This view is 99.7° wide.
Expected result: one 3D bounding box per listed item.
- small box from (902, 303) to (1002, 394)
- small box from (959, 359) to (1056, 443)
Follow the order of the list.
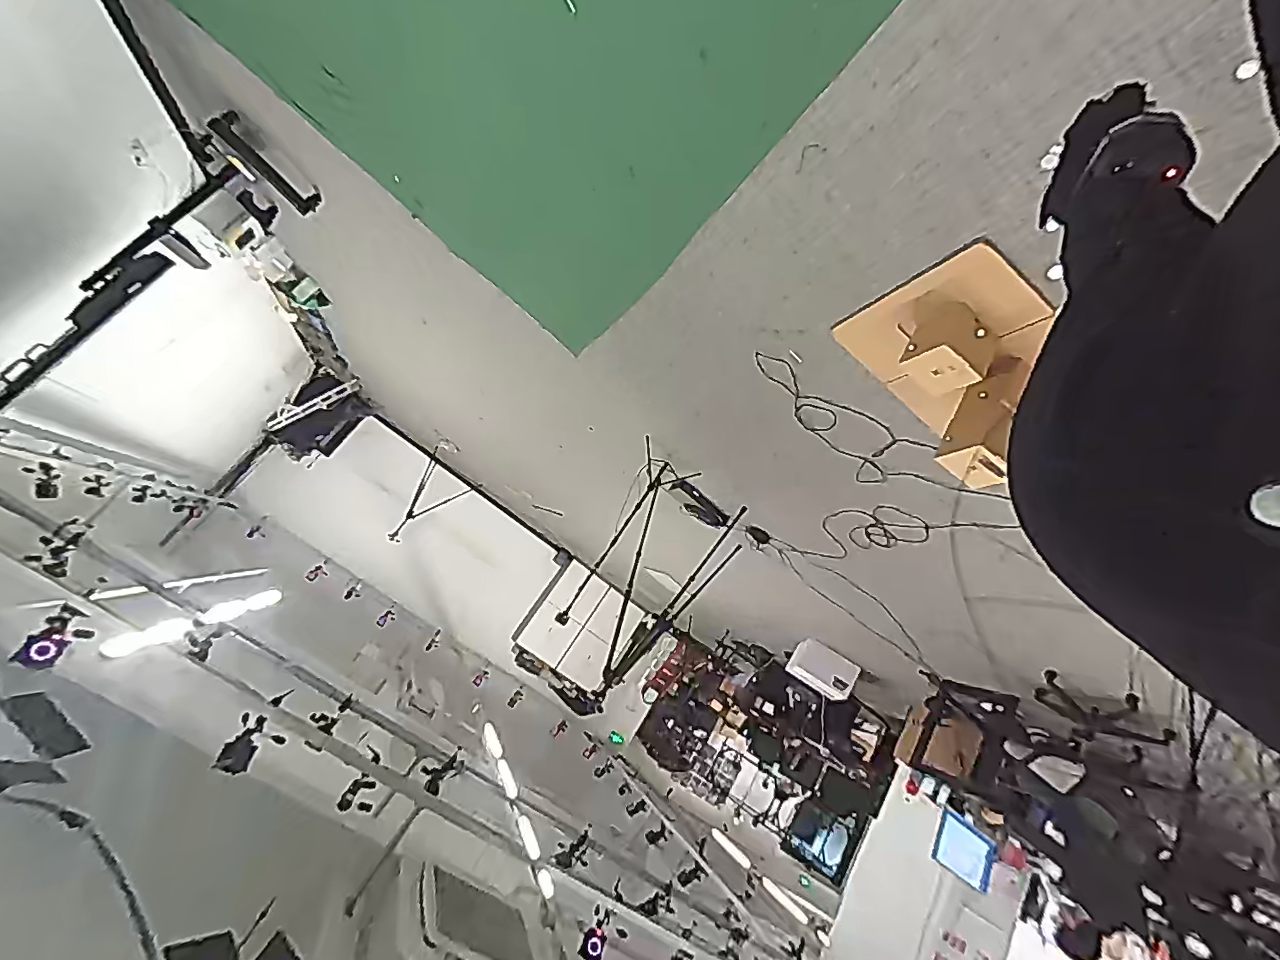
[{"bbox_3d":[0.942,-0.394,1.628,0.168,0.176,0.179,37,161,-11],"label":"small box"},{"bbox_3d":[1.138,-0.243,1.665,0.168,0.176,0.179,36,162,-7],"label":"small box"}]
